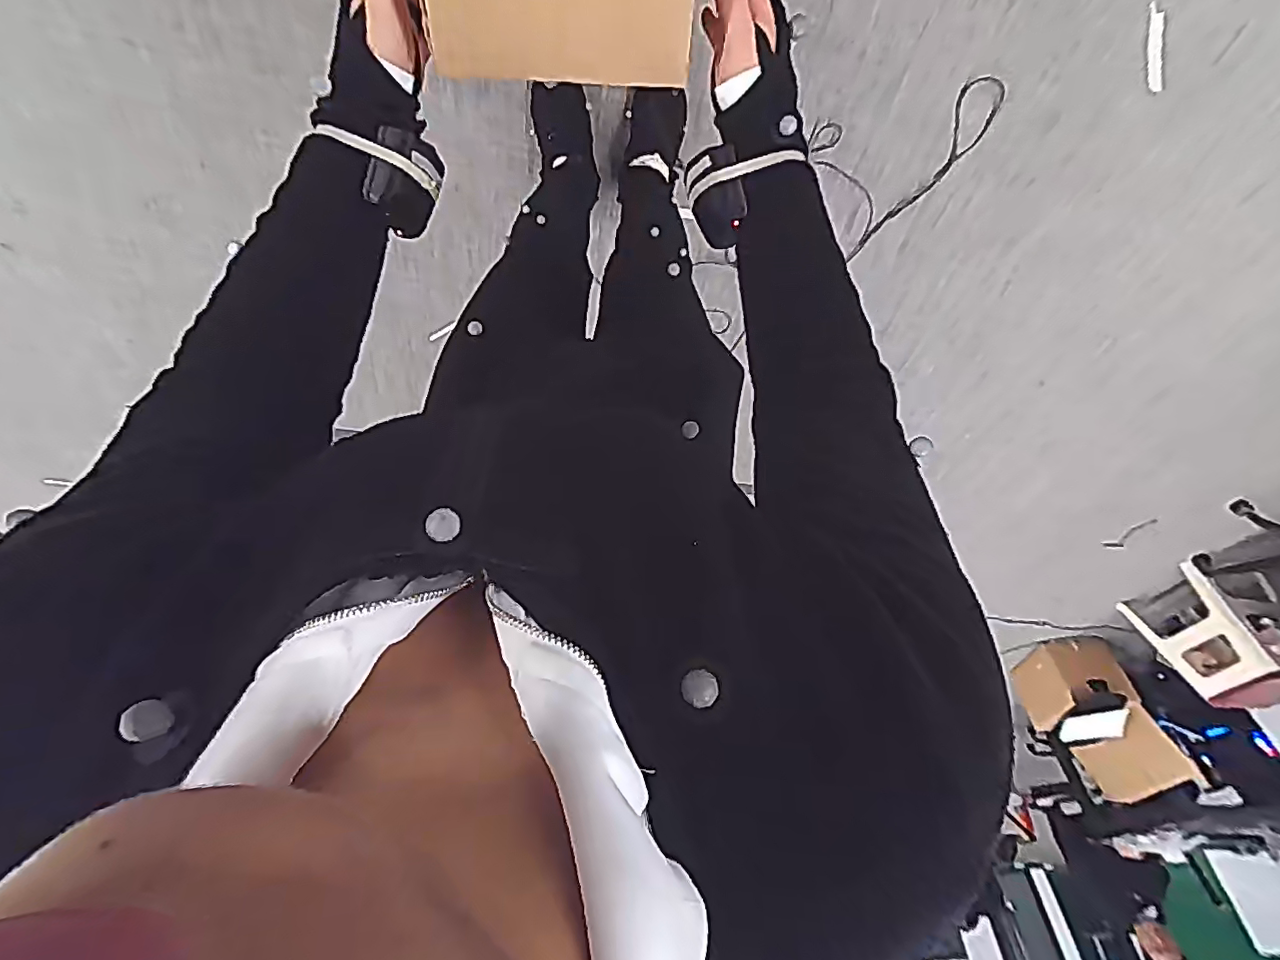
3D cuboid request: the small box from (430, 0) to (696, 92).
[{"bbox_3d":[-0.049,-0.396,0.375,0.179,0.176,0.168,0,140,-4],"label":"small box"}]
